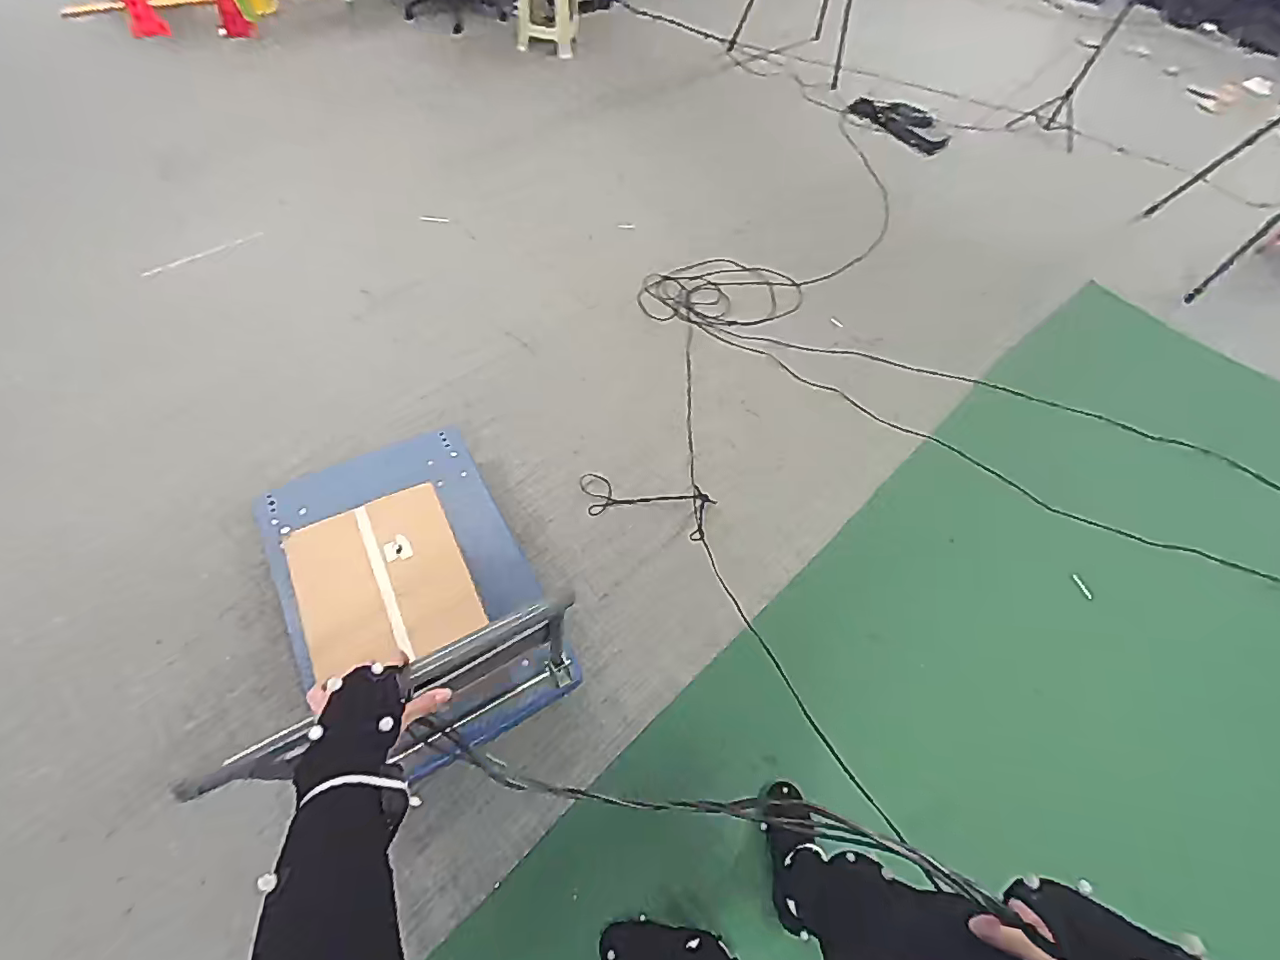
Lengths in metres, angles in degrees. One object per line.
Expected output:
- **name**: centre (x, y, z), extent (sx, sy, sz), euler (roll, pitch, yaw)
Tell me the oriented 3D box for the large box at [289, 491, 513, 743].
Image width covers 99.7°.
- **large box**: centre (-0.518, 0.307, 1.217), extent (0.320, 0.320, 0.408), euler (-22, 62, -20)
